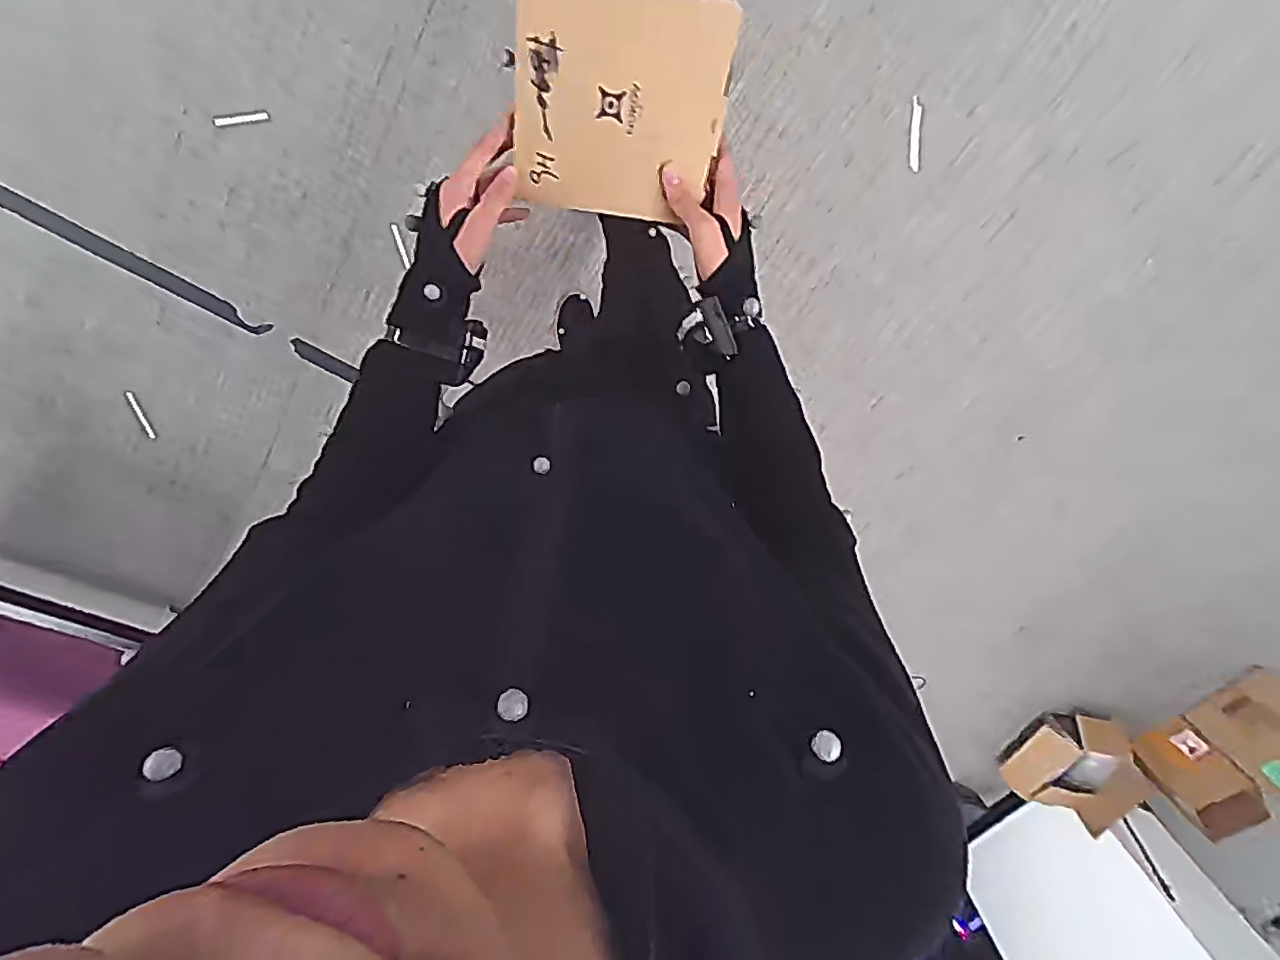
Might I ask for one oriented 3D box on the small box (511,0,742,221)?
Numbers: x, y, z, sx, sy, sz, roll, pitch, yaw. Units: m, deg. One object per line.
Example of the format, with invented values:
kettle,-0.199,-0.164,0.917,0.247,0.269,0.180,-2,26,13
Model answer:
small box,-0.028,-0.363,0.509,0.179,0.176,0.168,3,128,-11
